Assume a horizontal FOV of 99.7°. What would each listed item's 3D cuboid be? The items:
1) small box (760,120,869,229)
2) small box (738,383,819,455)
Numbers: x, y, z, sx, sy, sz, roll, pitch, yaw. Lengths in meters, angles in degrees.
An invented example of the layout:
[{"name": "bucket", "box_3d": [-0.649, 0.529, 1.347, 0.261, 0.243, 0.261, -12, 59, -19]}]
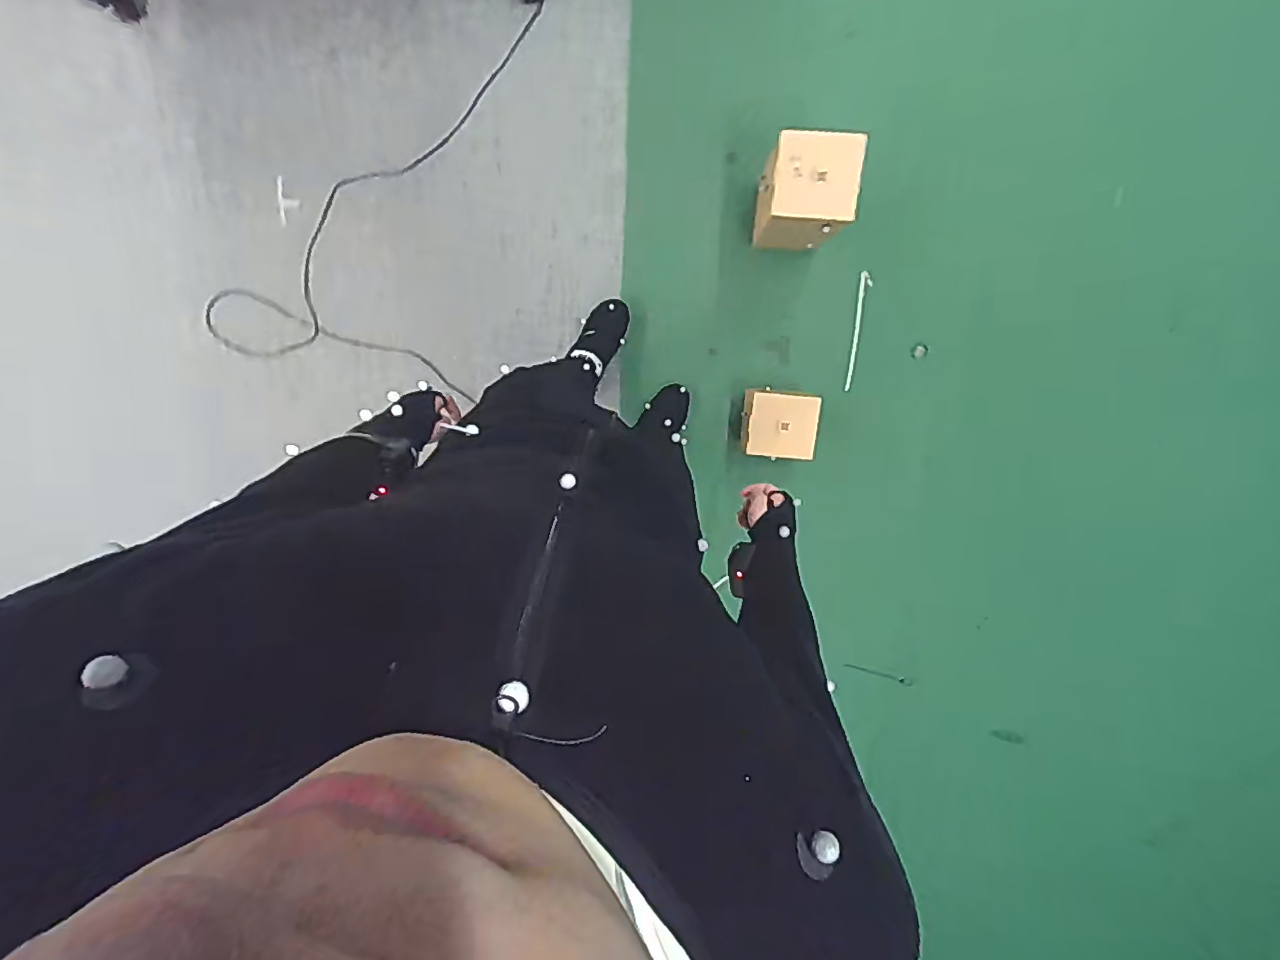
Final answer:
[{"name": "small box", "box_3d": [0.372, -0.658, 1.184, 0.179, 0.176, 0.168, 6, 104, 3]}, {"name": "small box", "box_3d": [0.370, -0.173, 1.475, 0.179, 0.176, 0.168, 6, 105, 4]}]
